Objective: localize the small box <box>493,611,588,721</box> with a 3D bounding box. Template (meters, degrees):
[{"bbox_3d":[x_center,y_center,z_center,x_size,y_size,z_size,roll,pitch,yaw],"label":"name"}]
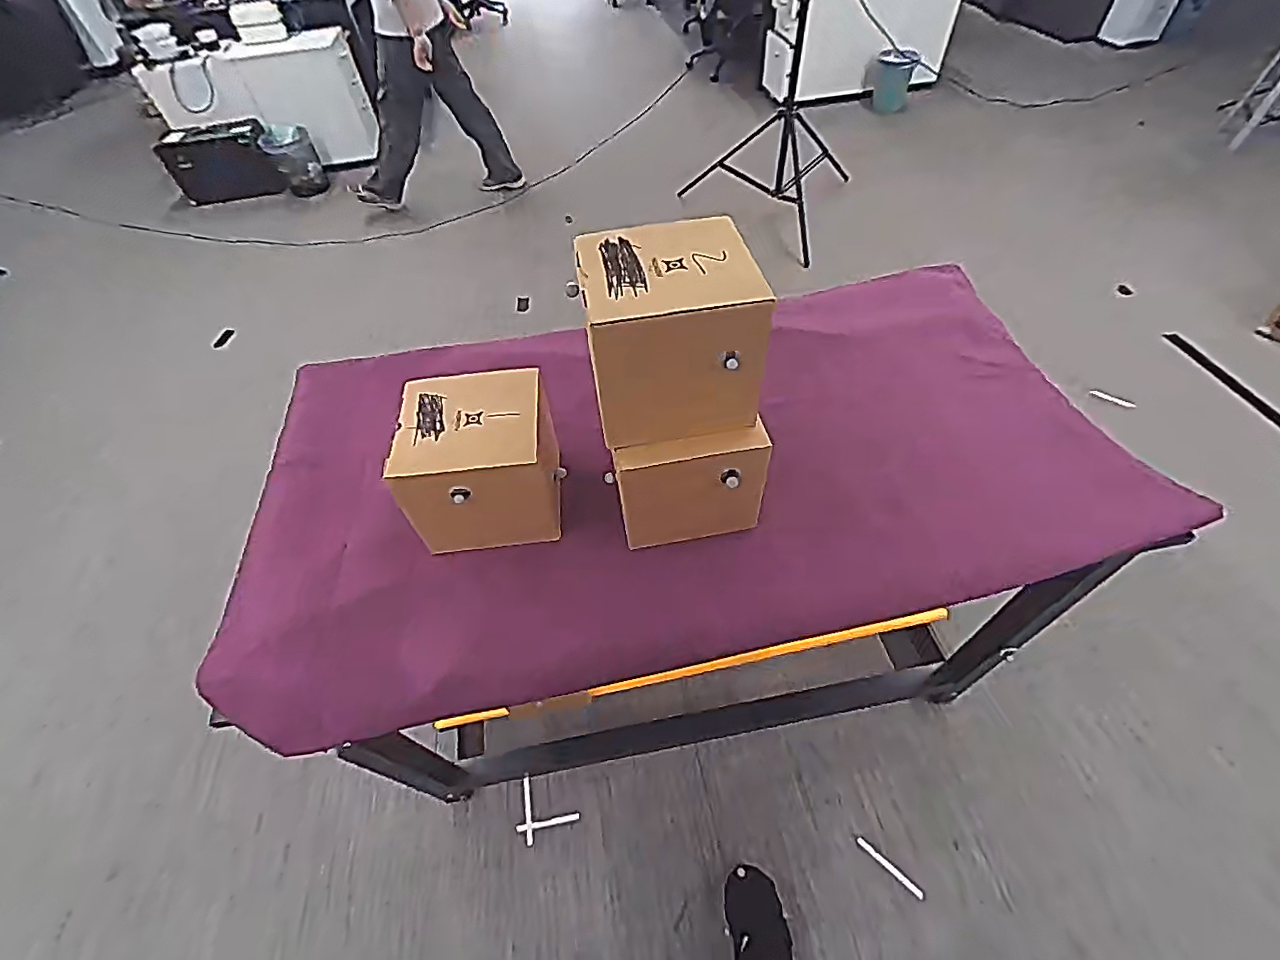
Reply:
[{"bbox_3d":[-0.210,0.406,1.173,0.179,0.176,0.168,-10,54,-5],"label":"small box"}]

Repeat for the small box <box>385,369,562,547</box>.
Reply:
[{"bbox_3d":[-0.204,-0.024,0.718,0.179,0.176,0.168,-6,51,-2],"label":"small box"}]

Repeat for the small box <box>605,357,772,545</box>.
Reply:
[{"bbox_3d":[0.055,-0.035,0.710,0.179,0.176,0.168,-9,50,-3],"label":"small box"}]
